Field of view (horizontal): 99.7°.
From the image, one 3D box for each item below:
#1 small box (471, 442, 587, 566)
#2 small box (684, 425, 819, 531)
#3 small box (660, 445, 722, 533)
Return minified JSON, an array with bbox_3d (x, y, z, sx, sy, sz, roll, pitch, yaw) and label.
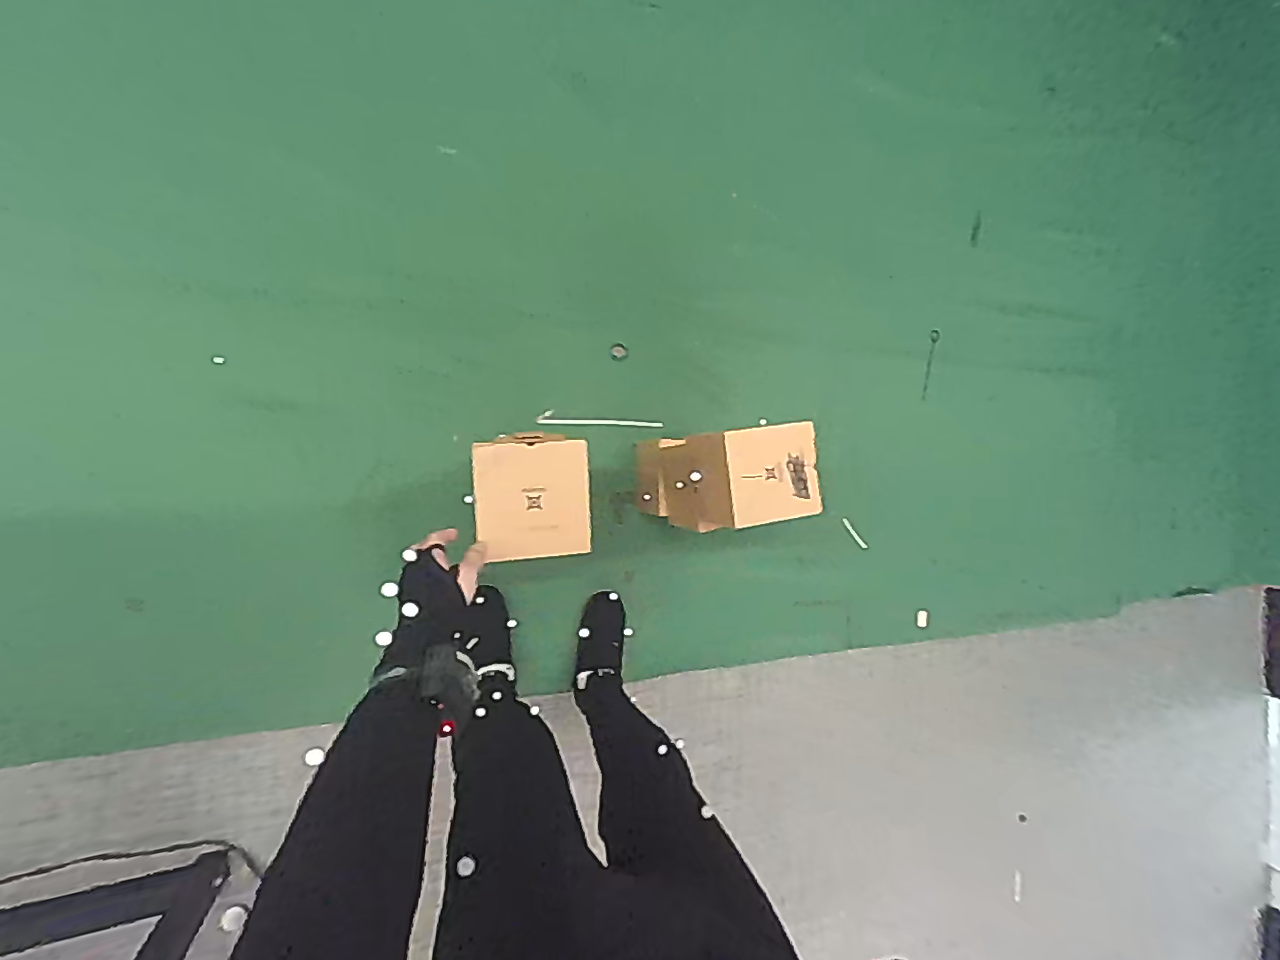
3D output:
[{"bbox_3d":[-0.183,0.034,0.871,0.168,0.176,0.179,-3,92,-15],"label":"small box"},{"bbox_3d":[0.199,-0.009,0.990,0.179,0.176,0.168,-8,94,-17],"label":"small box"},{"bbox_3d":[0.152,0.005,1.148,0.168,0.176,0.179,-11,96,-17],"label":"small box"}]
